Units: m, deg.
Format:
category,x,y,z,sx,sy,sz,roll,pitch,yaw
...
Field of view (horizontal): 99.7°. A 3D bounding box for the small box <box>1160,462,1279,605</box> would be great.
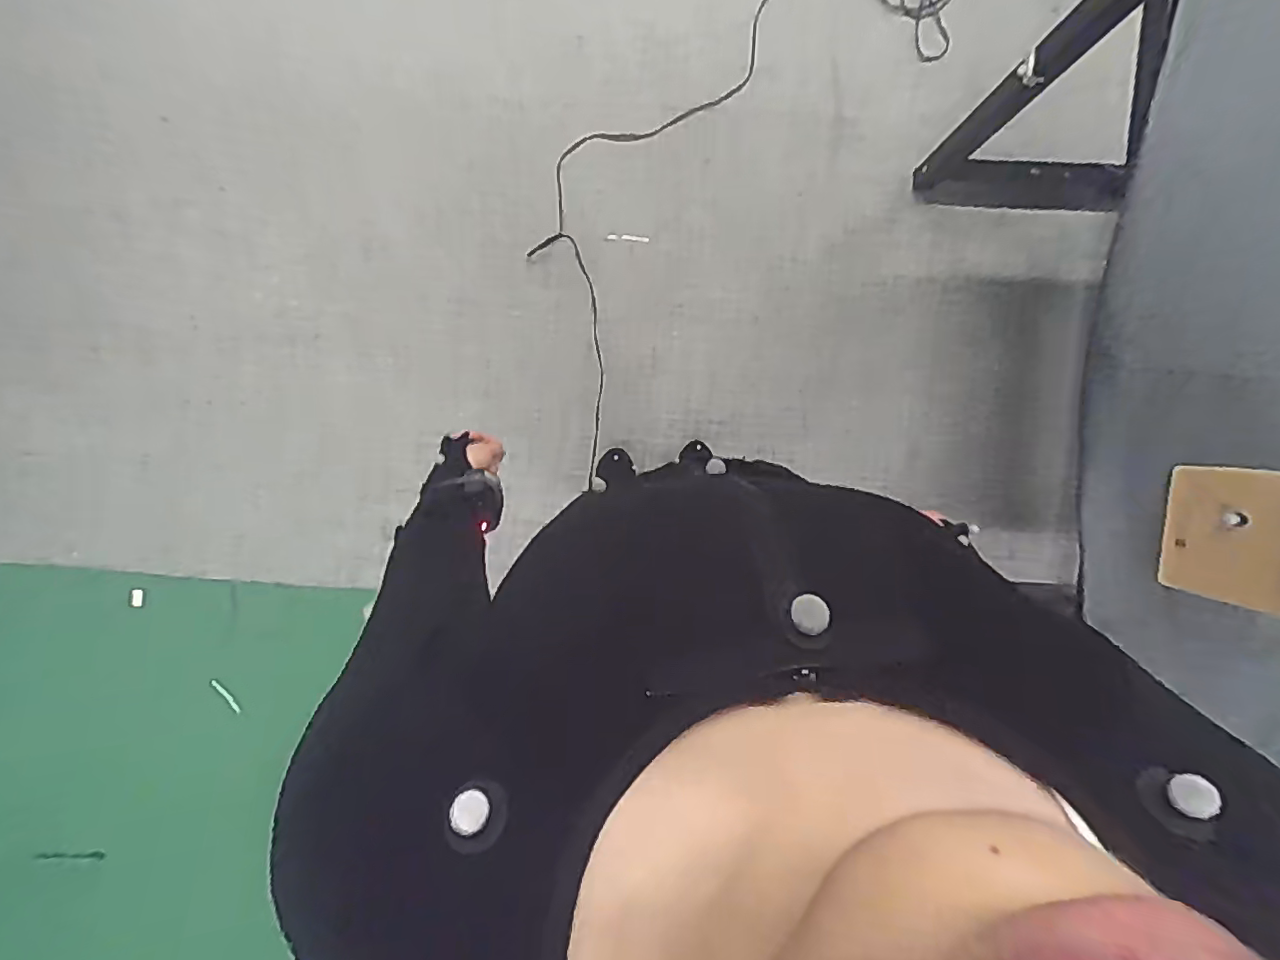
category,x,y,z,sx,sy,sz,roll,pitch,yaw
small box,0.809,0.066,0.669,0.179,0.176,0.168,3,94,-1
